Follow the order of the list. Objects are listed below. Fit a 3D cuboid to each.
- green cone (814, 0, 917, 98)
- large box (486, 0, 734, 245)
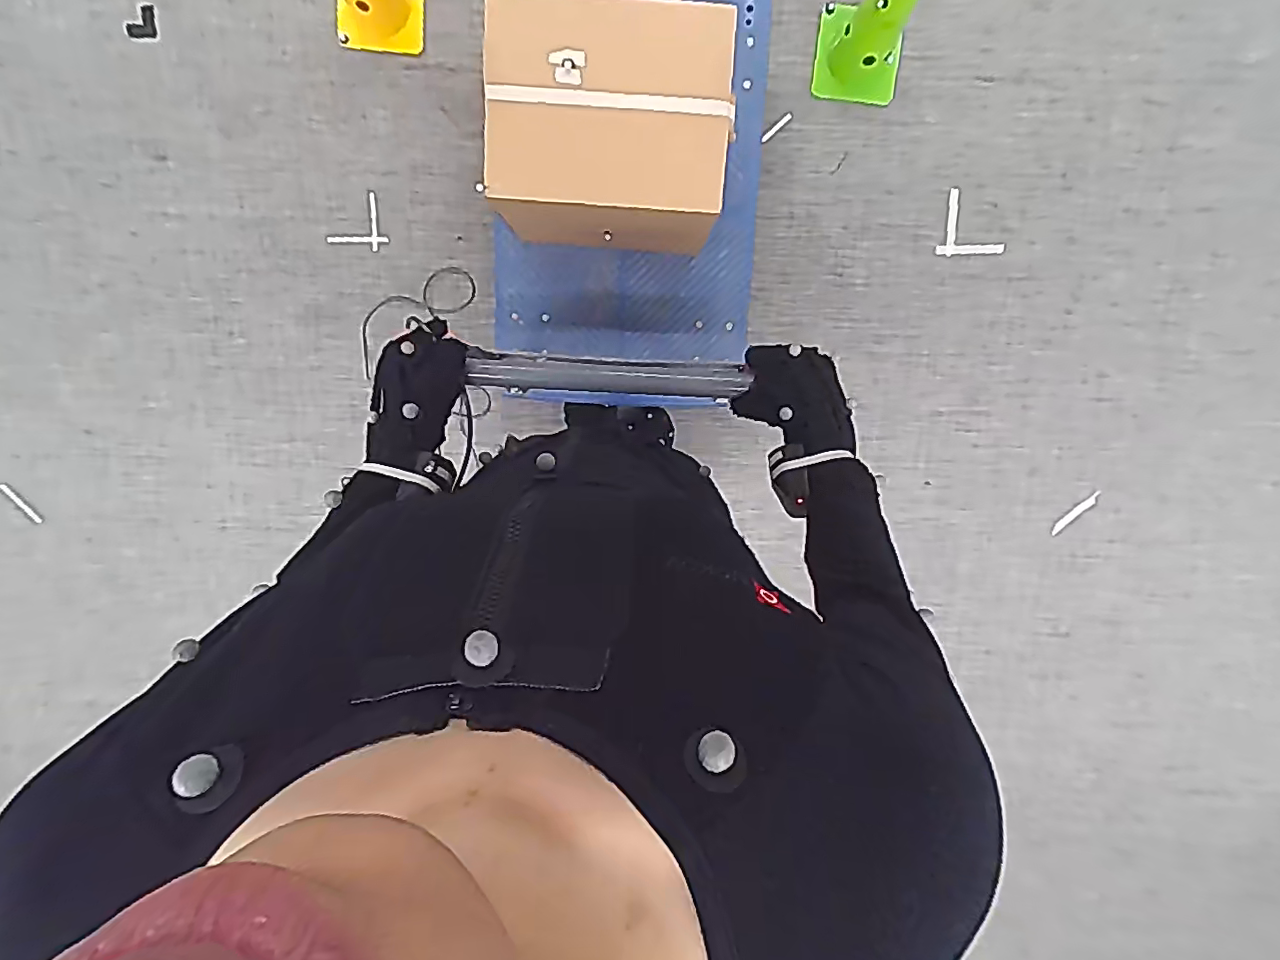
[{"bbox_3d":[0.527,-0.999,1.121,0.202,0.368,0.200,5,101,-3],"label":"green cone"},{"bbox_3d":[-0.052,-0.651,1.034,0.408,0.320,0.320,4,101,-1],"label":"large box"}]
